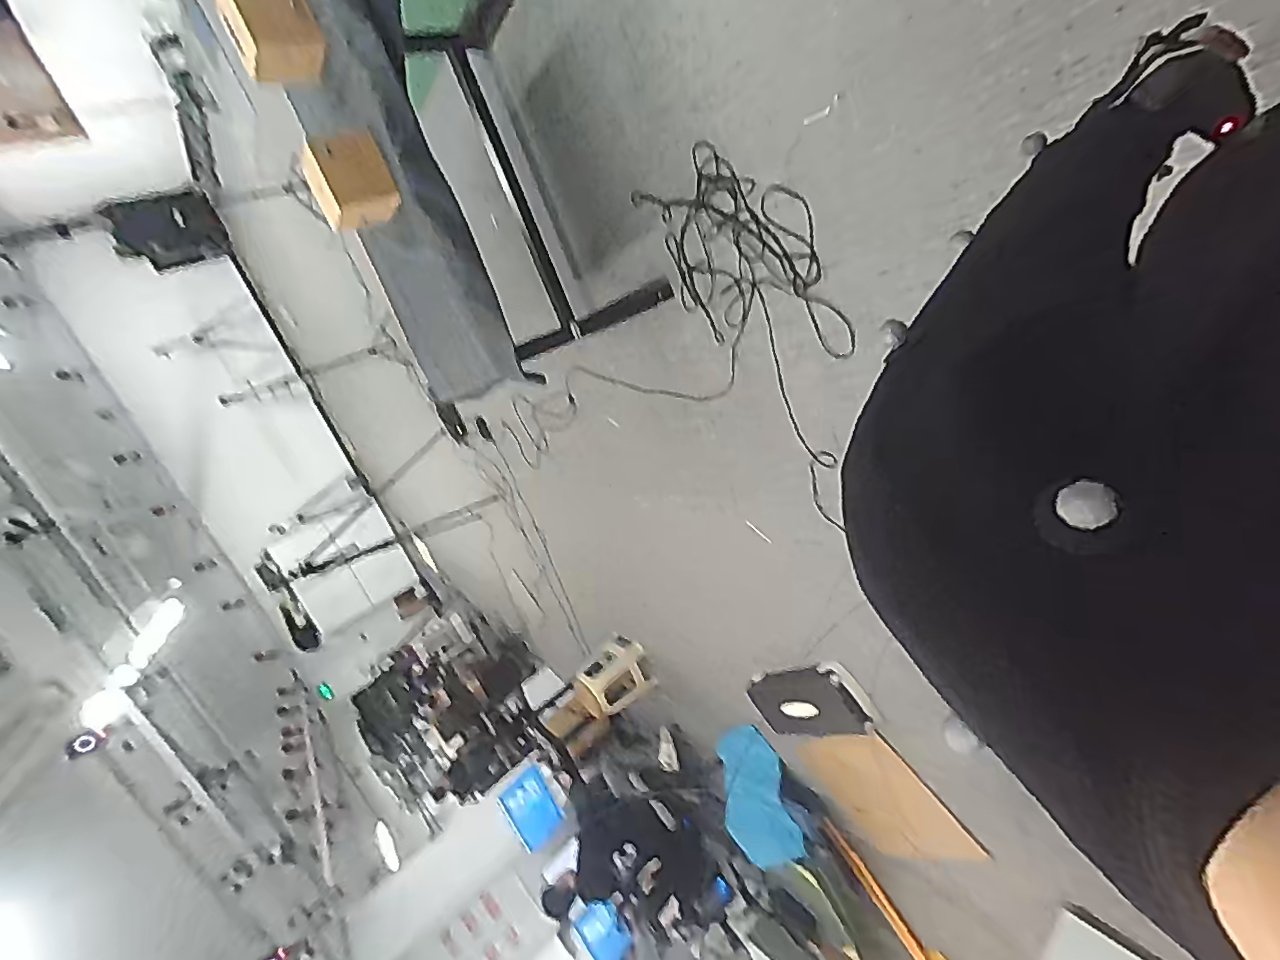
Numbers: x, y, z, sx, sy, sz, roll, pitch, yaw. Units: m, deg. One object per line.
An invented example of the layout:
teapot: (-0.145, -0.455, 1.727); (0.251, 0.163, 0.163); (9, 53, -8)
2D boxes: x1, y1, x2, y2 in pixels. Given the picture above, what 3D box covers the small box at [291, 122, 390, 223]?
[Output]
small box: (-0.793, -0.817, 1.438); (0.168, 0.176, 0.179); (2, 118, 54)
